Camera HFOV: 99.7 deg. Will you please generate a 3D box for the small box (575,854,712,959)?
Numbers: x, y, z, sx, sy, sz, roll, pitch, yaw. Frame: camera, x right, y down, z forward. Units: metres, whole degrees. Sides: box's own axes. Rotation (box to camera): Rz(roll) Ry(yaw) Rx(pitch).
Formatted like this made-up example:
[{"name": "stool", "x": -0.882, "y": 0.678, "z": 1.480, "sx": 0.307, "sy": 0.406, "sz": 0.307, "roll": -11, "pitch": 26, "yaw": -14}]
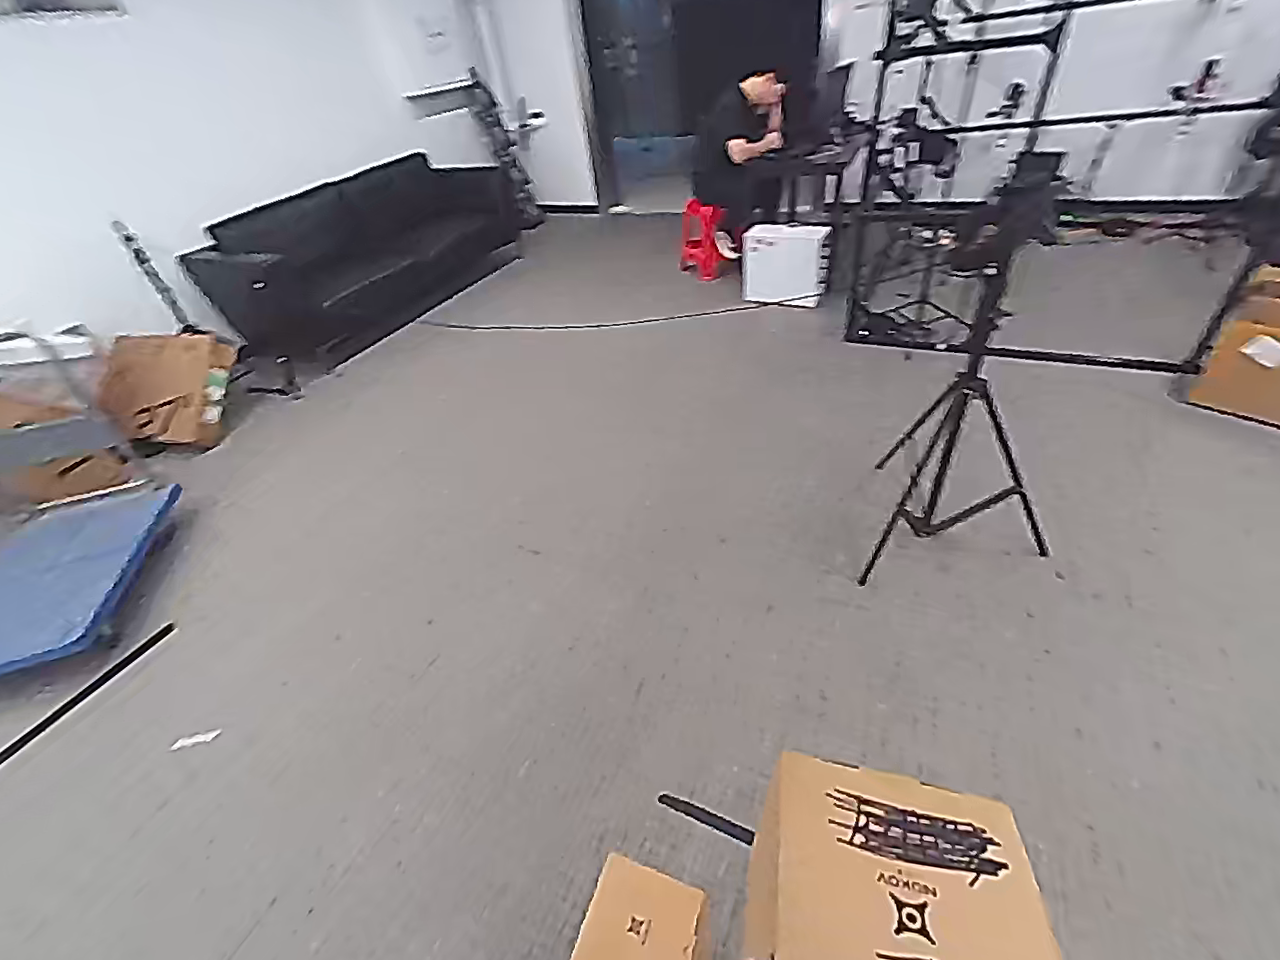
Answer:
[{"name": "small box", "x": 0.014, "y": 0.777, "z": 0.907, "sx": 0.179, "sy": 0.176, "sz": 0.168, "roll": 9, "pitch": 42, "yaw": 21}]
